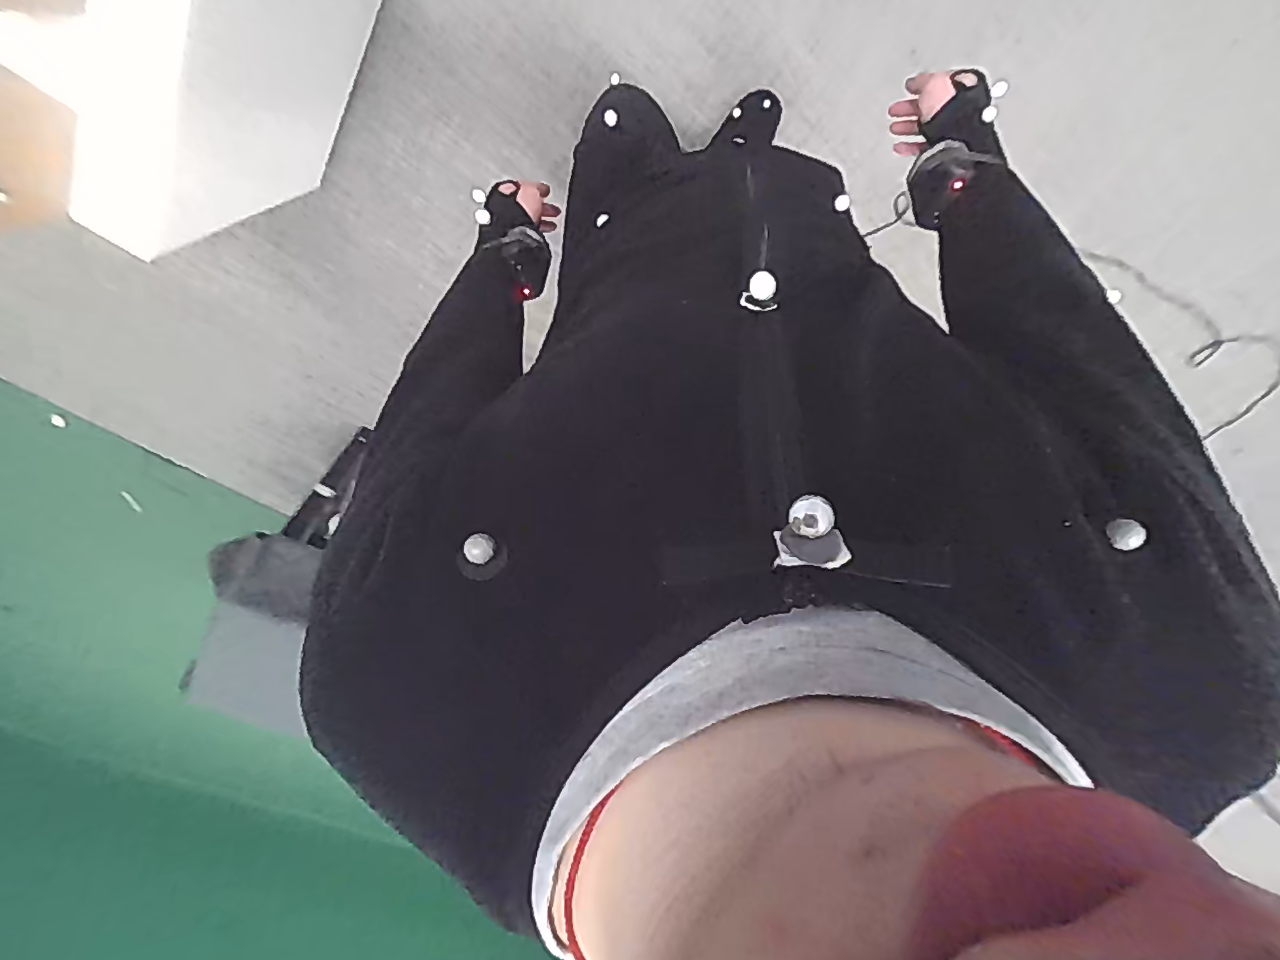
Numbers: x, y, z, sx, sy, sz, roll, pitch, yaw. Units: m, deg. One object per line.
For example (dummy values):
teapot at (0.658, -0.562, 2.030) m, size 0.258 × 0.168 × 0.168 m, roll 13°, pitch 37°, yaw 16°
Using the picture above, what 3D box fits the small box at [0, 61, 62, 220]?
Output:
small box at (-0.892, -0.446, 0.677) m, size 0.168 × 0.176 × 0.179 m, roll 32°, pitch 122°, yaw -22°

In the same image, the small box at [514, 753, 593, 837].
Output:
small box at (-0.262, 0.965, 1.667) m, size 0.179 × 0.176 × 0.168 m, roll 26°, pitch 127°, yaw -16°
